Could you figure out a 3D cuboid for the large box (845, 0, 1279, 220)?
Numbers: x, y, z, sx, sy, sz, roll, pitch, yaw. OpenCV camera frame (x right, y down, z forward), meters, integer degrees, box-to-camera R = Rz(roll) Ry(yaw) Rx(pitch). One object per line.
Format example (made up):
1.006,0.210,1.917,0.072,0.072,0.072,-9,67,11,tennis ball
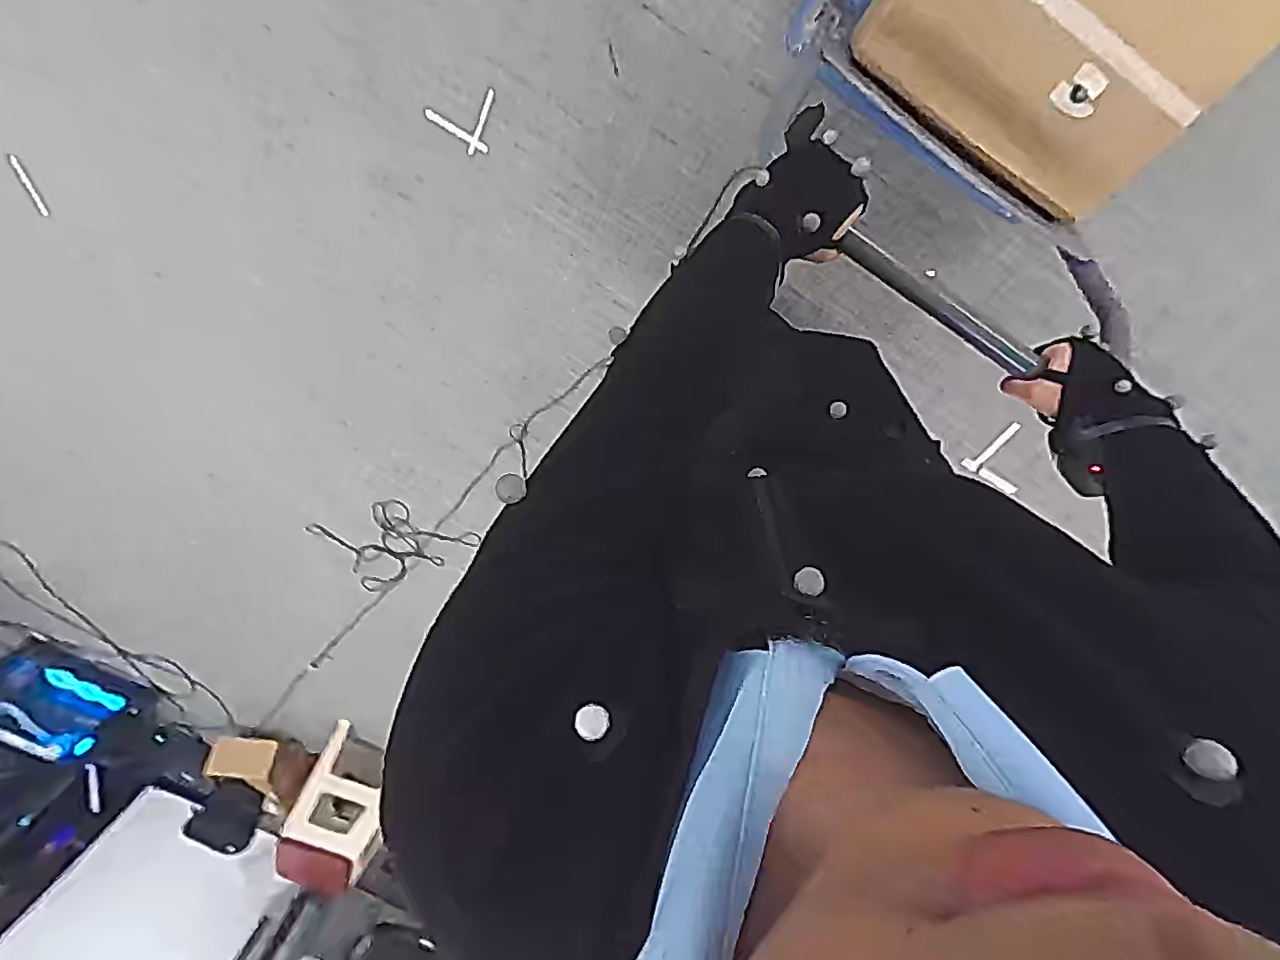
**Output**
0.558,-0.660,0.772,0.408,0.320,0.320,30,135,-9,large box
